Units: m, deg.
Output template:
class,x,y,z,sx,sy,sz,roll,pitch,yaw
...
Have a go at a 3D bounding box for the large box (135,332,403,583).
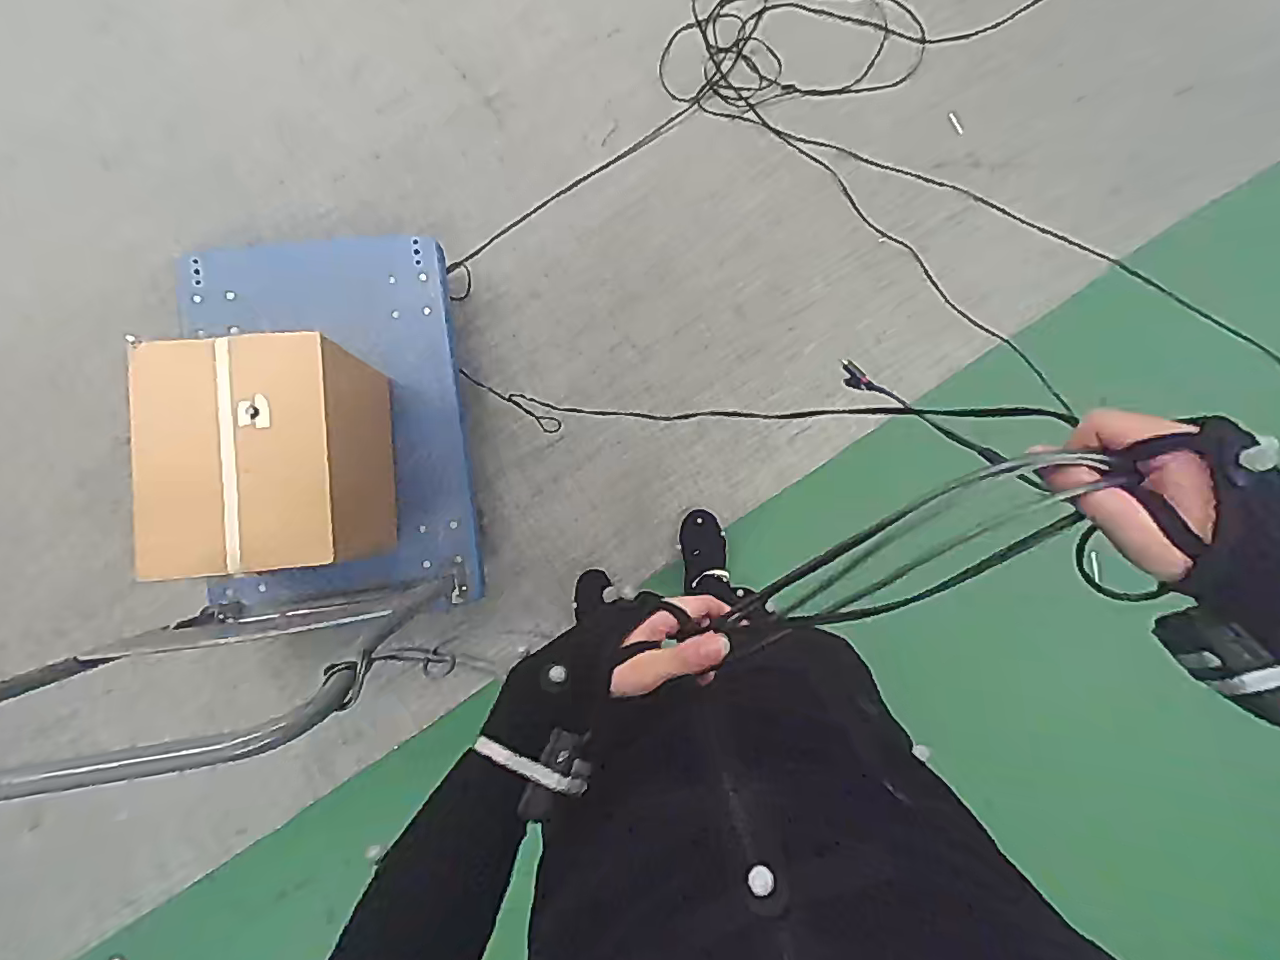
class,x,y,z,sx,sy,sz,roll,pitch,yaw
large box,-0.682,-0.030,1.048,0.320,0.320,0.408,-5,86,-5
